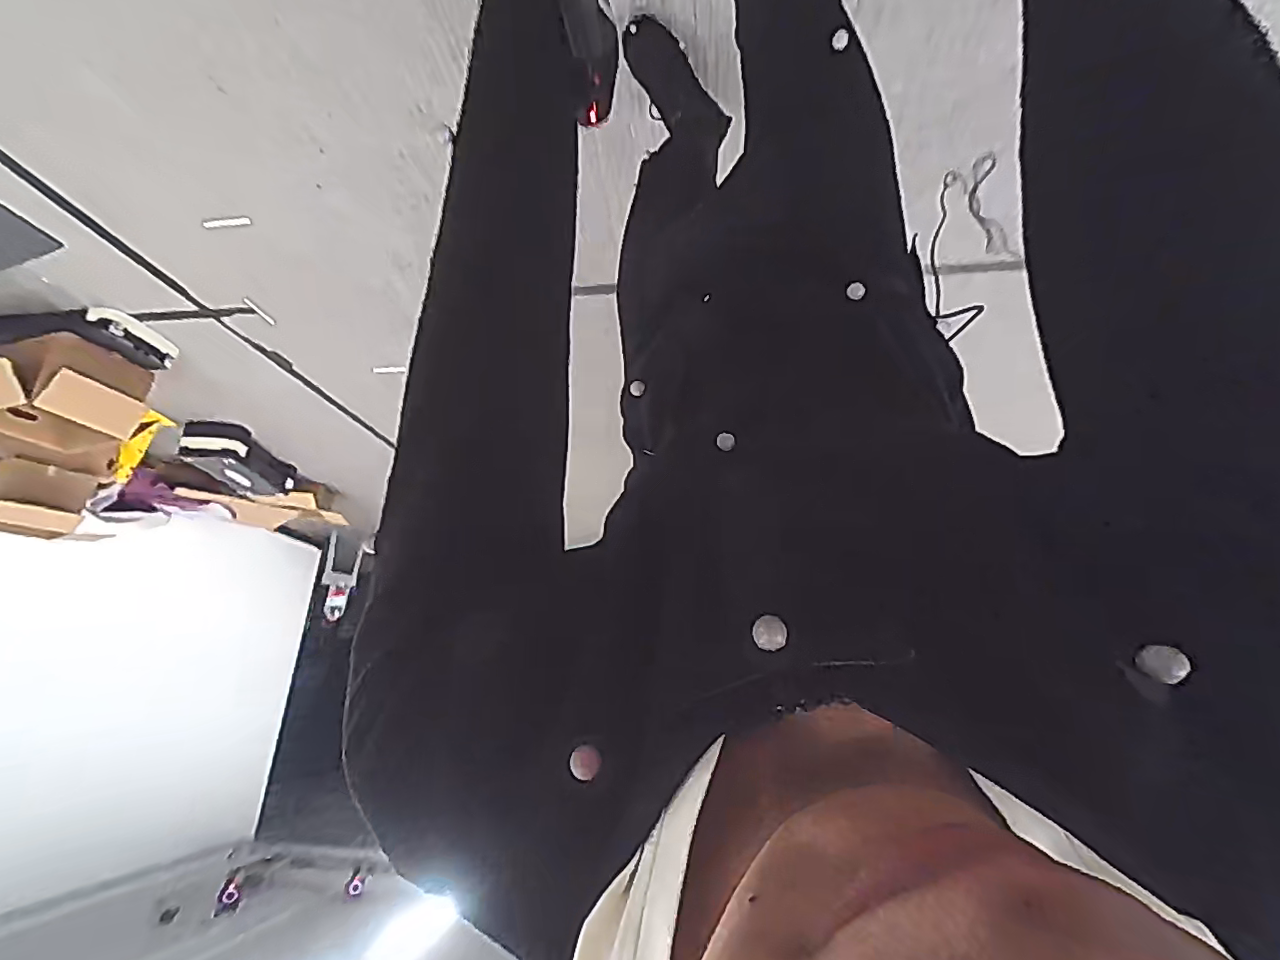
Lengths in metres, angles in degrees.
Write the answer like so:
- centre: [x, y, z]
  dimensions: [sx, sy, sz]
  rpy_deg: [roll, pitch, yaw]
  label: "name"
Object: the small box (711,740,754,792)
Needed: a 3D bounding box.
- centre: [0.379, 1.175, 2.233]
  dimensions: [0.168, 0.176, 0.179]
  rpy_deg: [-2, 159, 7]
  label: "small box"
